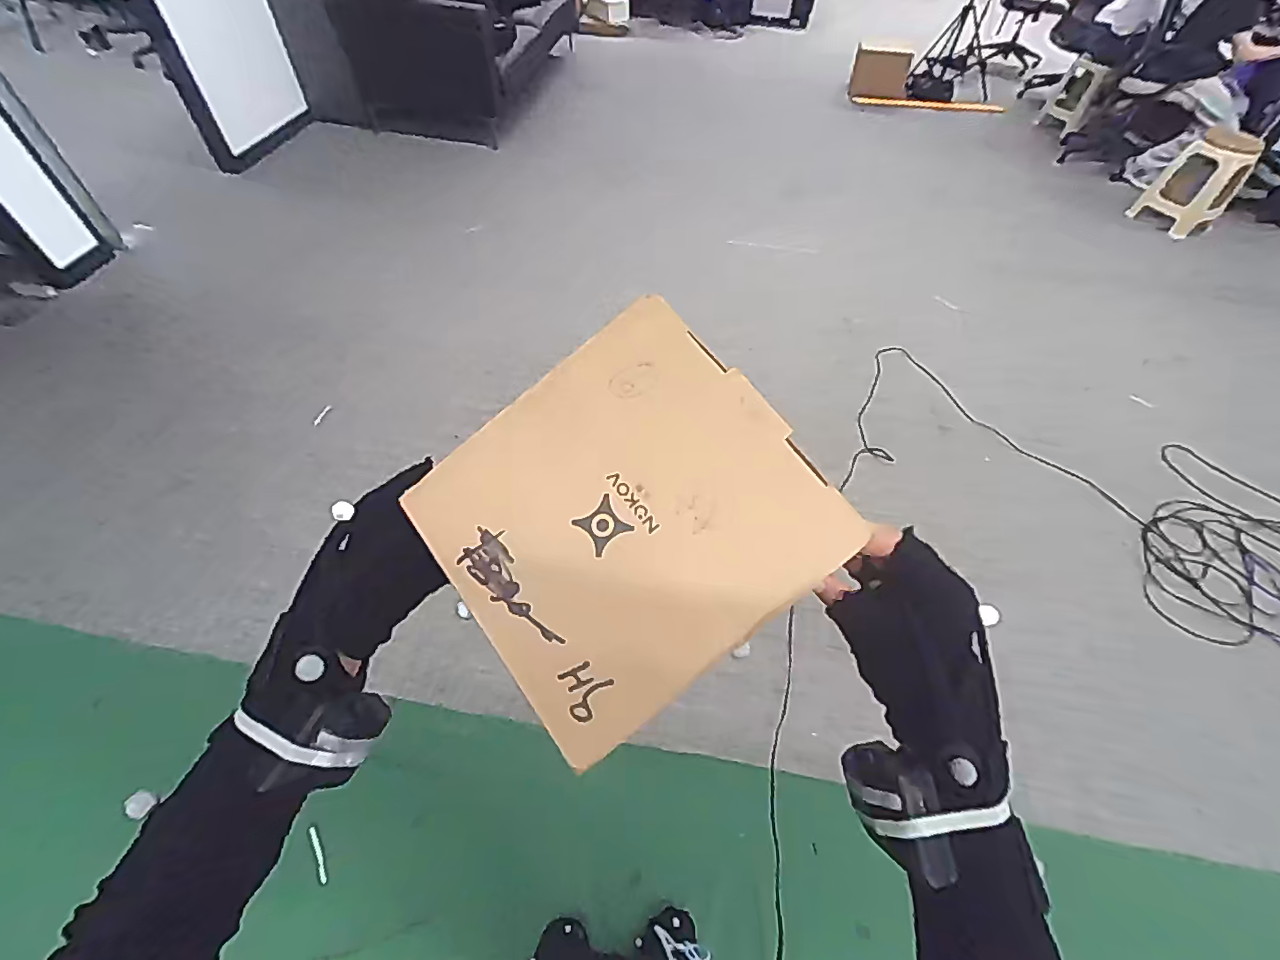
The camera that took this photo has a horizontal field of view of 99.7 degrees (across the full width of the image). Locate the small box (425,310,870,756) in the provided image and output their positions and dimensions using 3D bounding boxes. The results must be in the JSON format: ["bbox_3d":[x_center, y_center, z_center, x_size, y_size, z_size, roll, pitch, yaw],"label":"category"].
[{"bbox_3d":[0.007,0.034,0.353,0.179,0.176,0.168,-38,75,0],"label":"small box"}]
